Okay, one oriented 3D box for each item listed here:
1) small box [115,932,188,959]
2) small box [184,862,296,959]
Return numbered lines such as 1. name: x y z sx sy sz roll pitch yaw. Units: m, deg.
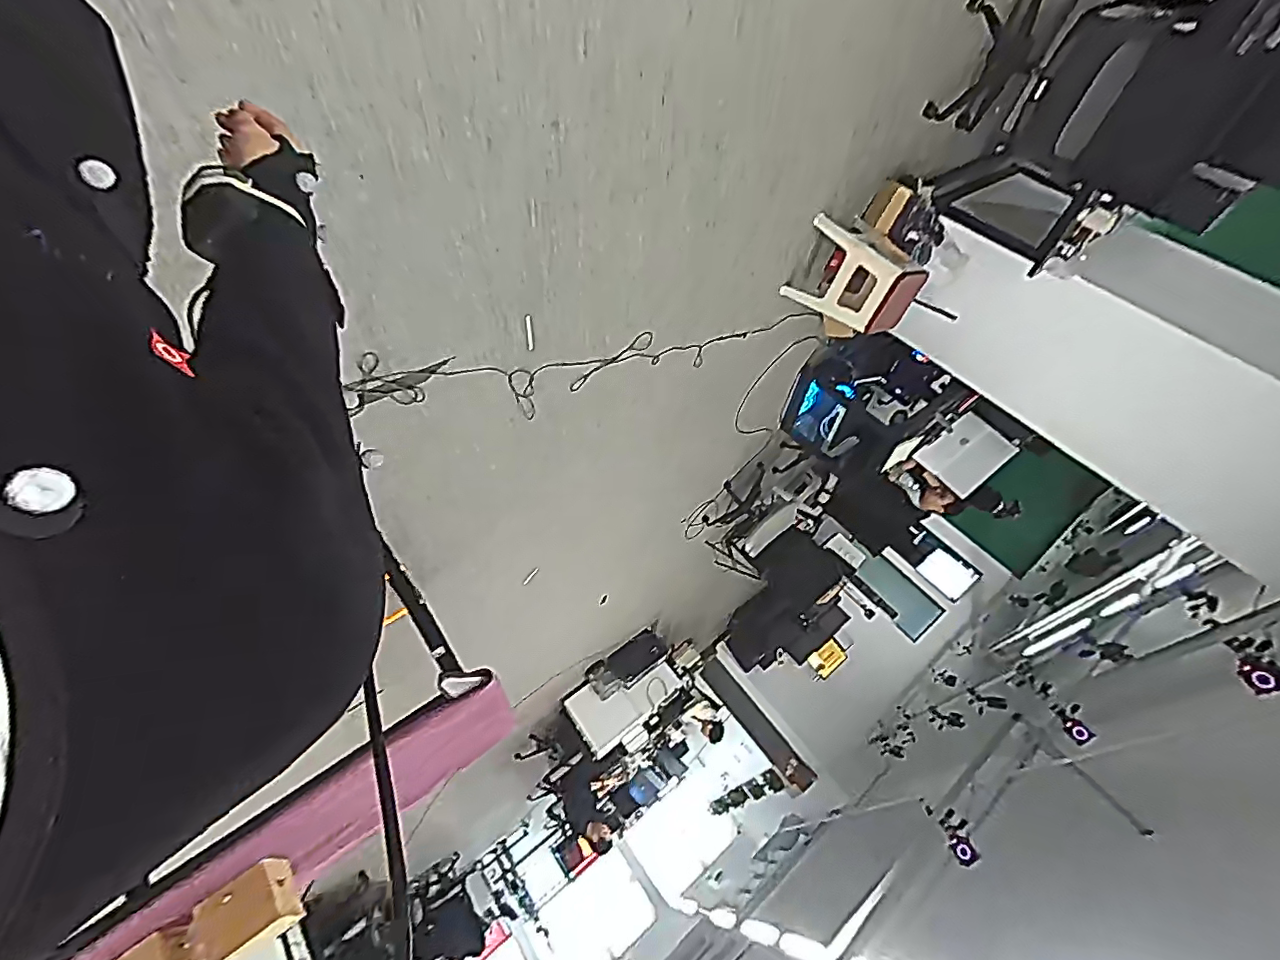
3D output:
1. small box: -1.270 1.290 1.357 0.179 0.176 0.168 -30 153 -26
2. small box: -1.079 1.187 1.473 0.179 0.176 0.168 -30 153 -27
